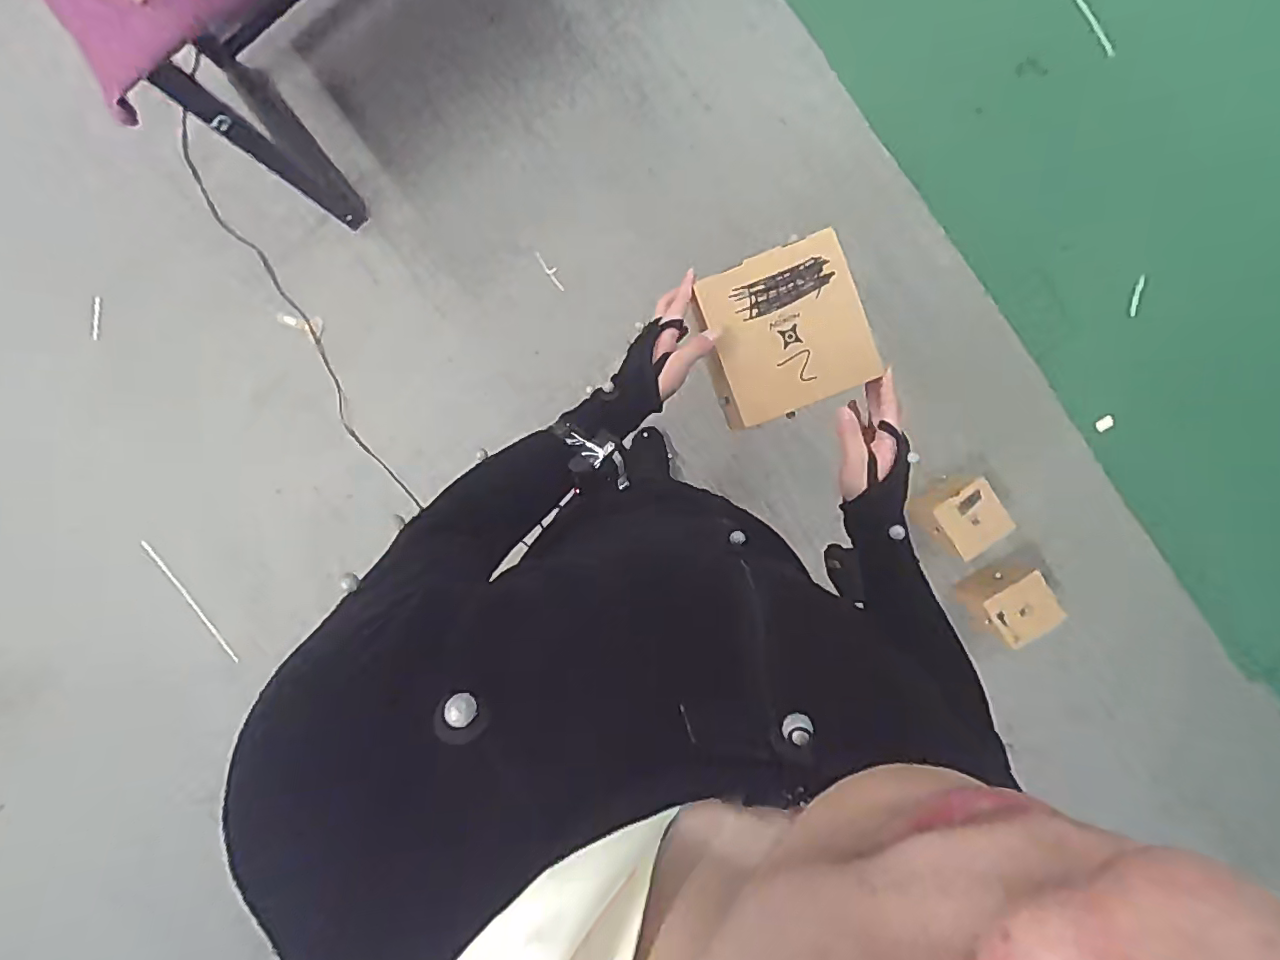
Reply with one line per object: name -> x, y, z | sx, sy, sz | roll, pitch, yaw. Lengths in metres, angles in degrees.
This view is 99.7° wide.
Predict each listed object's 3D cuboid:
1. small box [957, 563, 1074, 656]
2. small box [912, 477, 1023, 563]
small box -> 1.048, 0.355, 1.522 | 0.179, 0.176, 0.168 | -32, 92, 3
small box -> 0.903, 0.105, 1.511 | 0.168, 0.176, 0.179 | -34, 92, 4
